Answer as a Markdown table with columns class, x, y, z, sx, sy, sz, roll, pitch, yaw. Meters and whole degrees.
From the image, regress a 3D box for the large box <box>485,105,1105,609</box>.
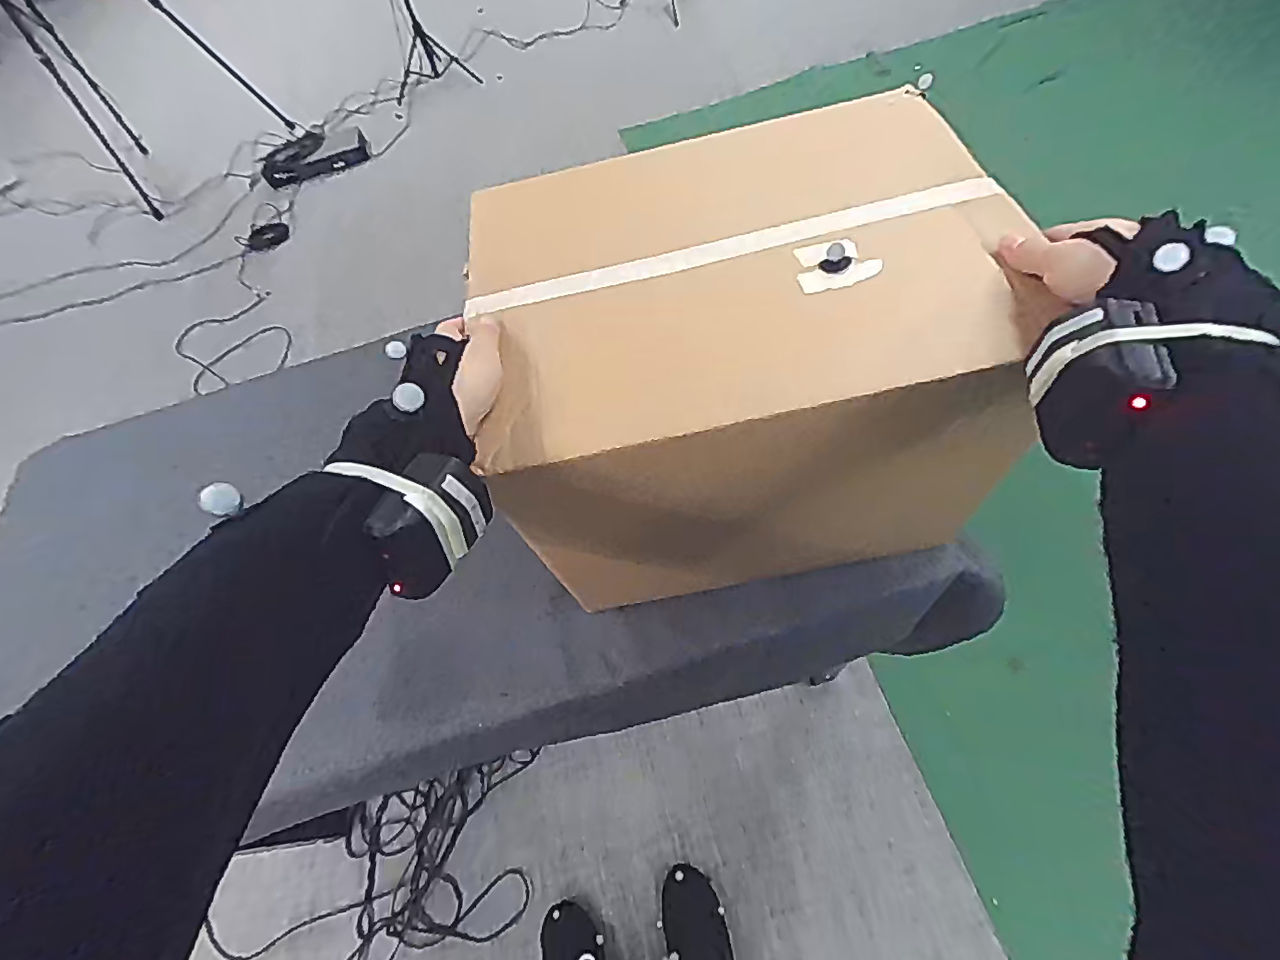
| class | x | y | z | sx | sy | sz | roll | pitch | yaw |
| --- | --- | --- | --- | --- | --- | --- | --- | --- | --- |
| large box | 0.093 | -0.096 | 0.544 | 0.408 | 0.320 | 0.320 | -12 | 60 | 2 |
